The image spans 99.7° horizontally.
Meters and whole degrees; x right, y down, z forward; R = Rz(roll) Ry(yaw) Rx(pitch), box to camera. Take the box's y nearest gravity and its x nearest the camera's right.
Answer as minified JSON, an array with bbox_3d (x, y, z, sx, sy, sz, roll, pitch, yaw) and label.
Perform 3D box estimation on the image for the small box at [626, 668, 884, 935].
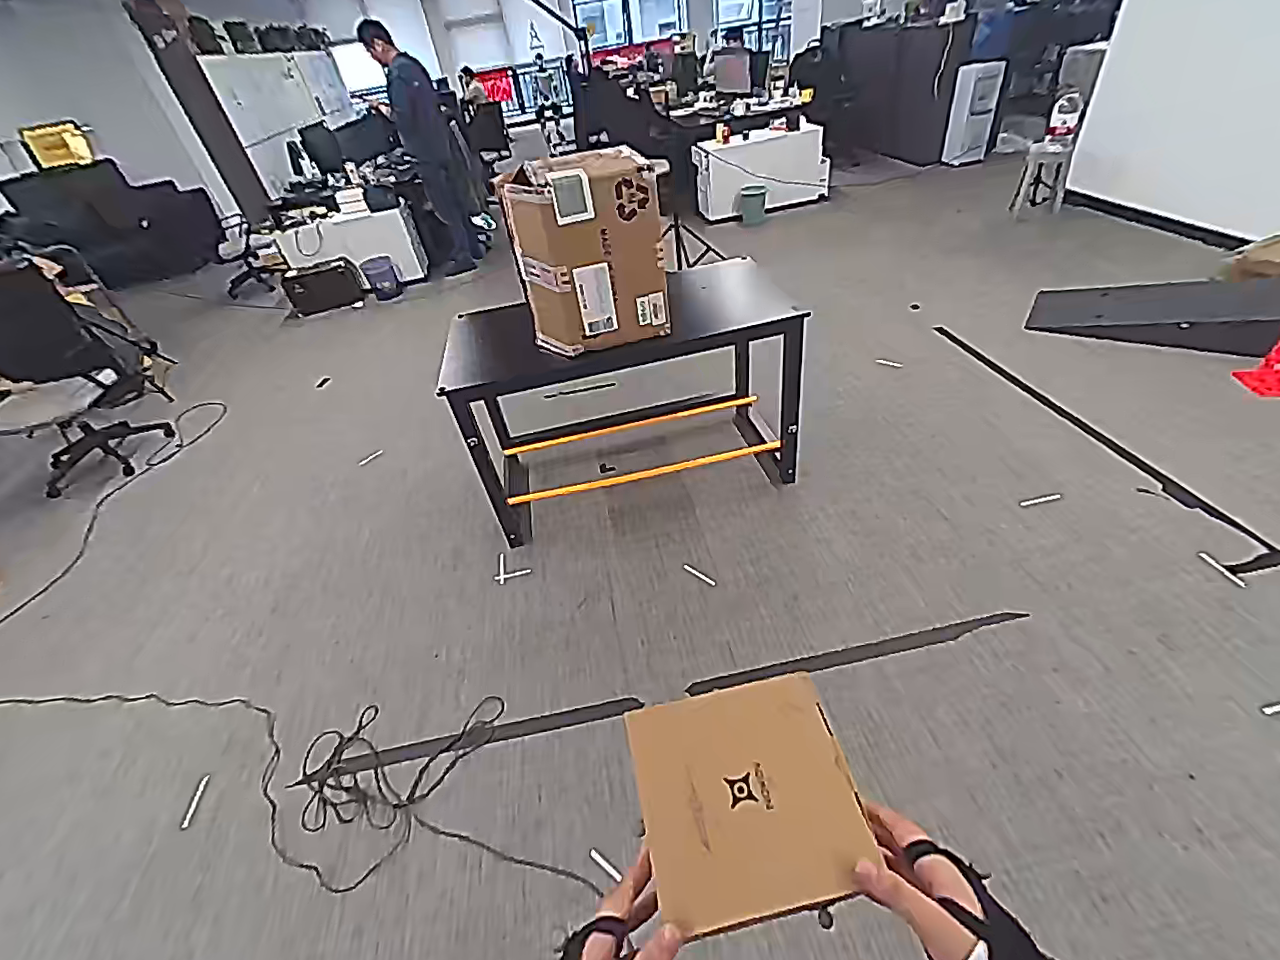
[{"bbox_3d":[0.092,0.306,0.513,0.179,0.176,0.168,-13,48,-4],"label":"small box"}]
